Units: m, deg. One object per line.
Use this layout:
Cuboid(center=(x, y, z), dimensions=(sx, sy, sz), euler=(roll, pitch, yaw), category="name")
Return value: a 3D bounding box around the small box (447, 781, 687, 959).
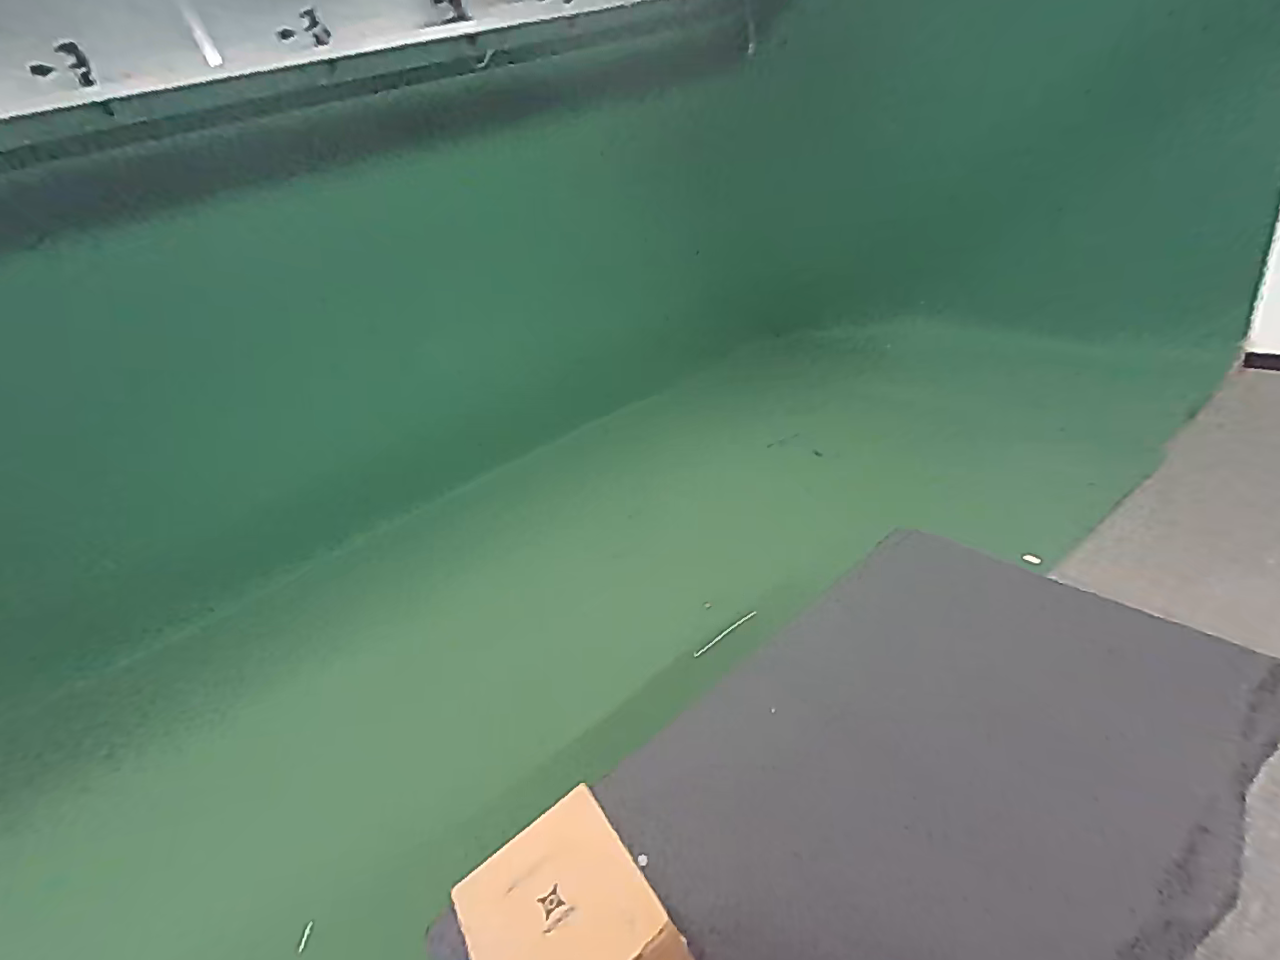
Cuboid(center=(-0.068, 0.468, 0.554), dimensions=(0.168, 0.176, 0.179), euler=(-29, 29, -23), category="small box")
